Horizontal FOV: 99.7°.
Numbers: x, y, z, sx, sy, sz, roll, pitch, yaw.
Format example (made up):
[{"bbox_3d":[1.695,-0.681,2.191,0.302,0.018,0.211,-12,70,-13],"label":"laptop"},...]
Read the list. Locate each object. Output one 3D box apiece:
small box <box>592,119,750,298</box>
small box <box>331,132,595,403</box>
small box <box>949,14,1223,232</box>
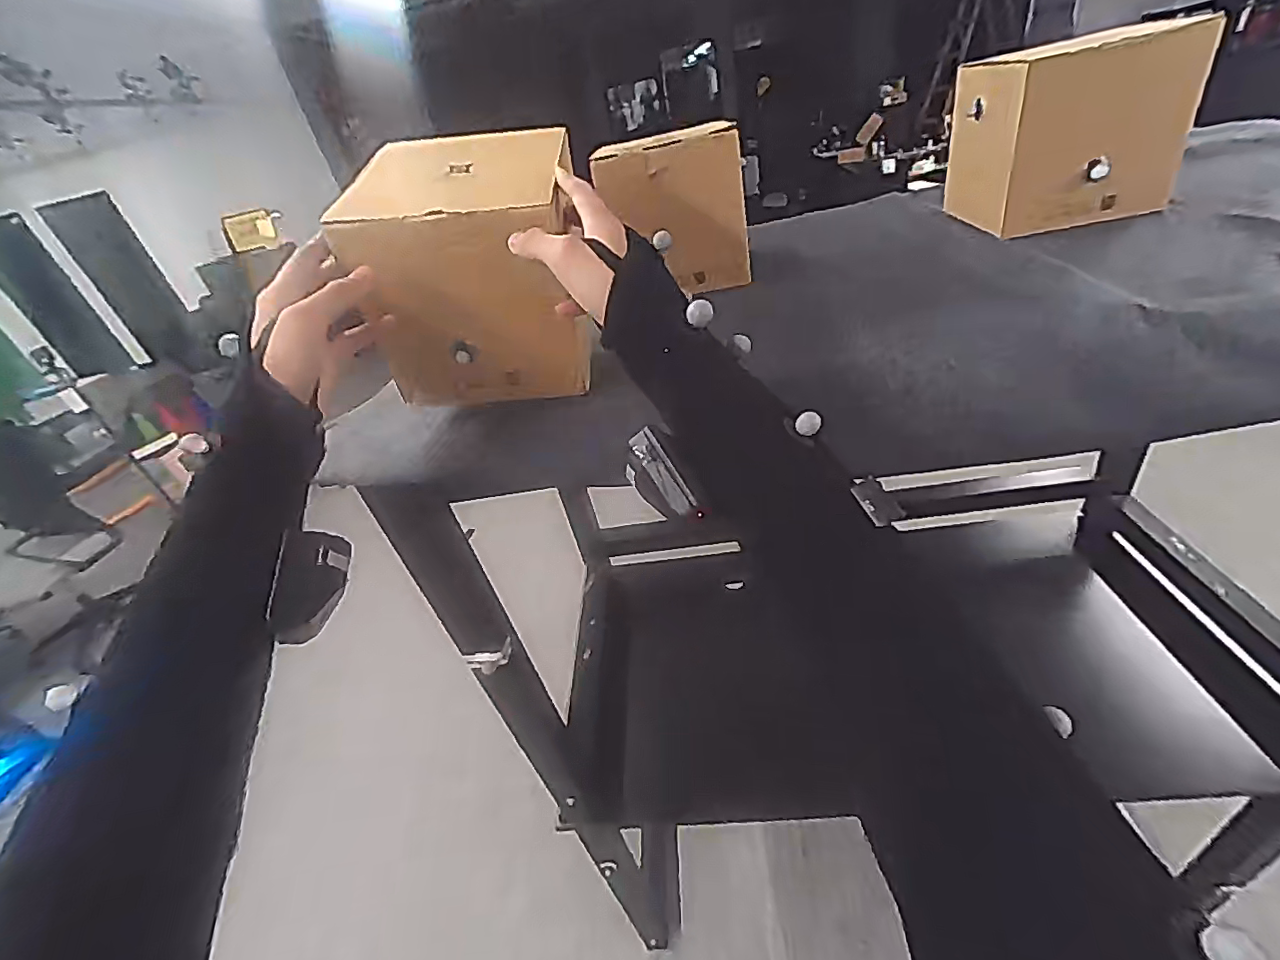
[{"bbox_3d":[0.045,-0.345,0.697,0.168,0.176,0.179,-8,34,8],"label":"small box"},{"bbox_3d":[-0.135,-0.192,0.493,0.168,0.176,0.179,-5,47,2],"label":"small box"},{"bbox_3d":[0.479,-0.399,0.622,0.168,0.176,0.179,-7,35,10],"label":"small box"}]
